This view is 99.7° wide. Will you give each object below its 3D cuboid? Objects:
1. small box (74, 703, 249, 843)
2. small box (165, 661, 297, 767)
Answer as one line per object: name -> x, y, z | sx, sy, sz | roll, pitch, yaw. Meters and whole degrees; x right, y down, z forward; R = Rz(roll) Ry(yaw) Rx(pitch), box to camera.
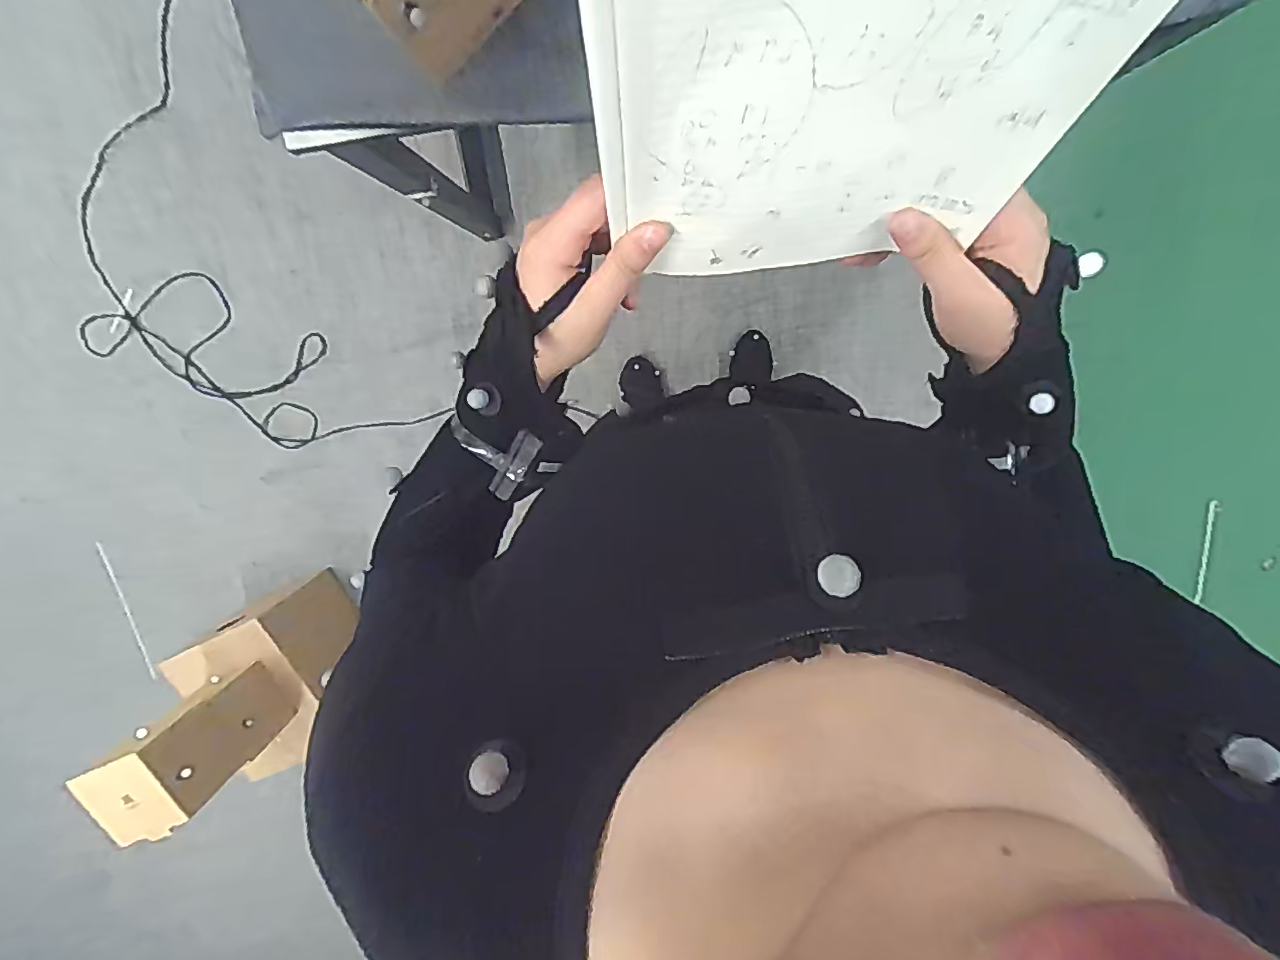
small box -> -0.979, 0.596, 1.124 | 0.168, 0.176, 0.179 | -24, 103, 6
small box -> -0.971, 0.568, 1.285 | 0.168, 0.176, 0.179 | -24, 102, 7
